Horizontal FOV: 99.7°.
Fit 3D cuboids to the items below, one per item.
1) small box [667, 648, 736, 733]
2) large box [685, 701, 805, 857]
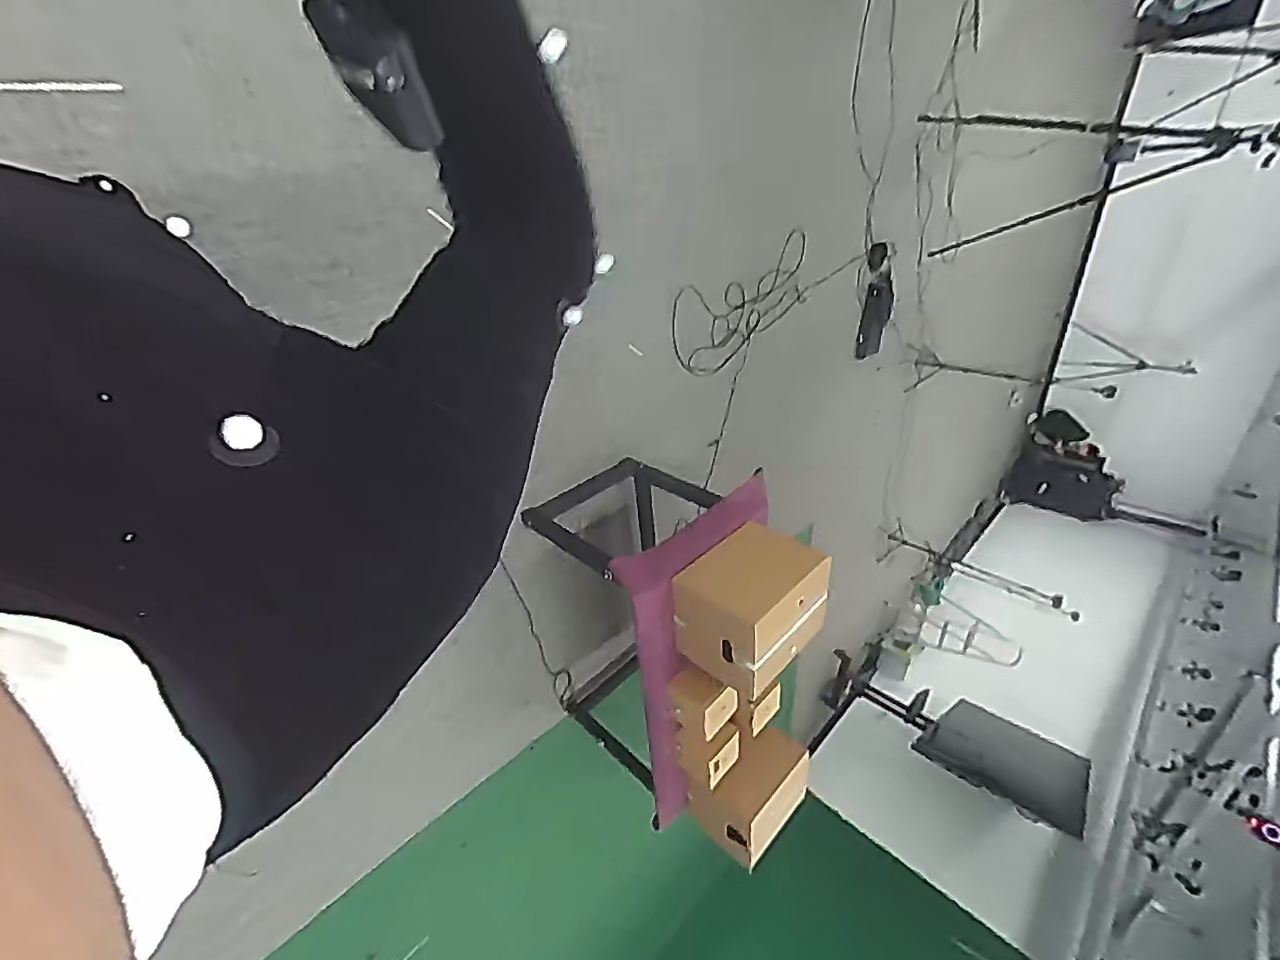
[{"bbox_3d":[0.214,0.719,1.868,0.179,0.176,0.168,-32,128,-36],"label":"small box"},{"bbox_3d":[0.433,1.214,2.238,0.408,0.320,0.320,-28,125,-36],"label":"large box"}]
